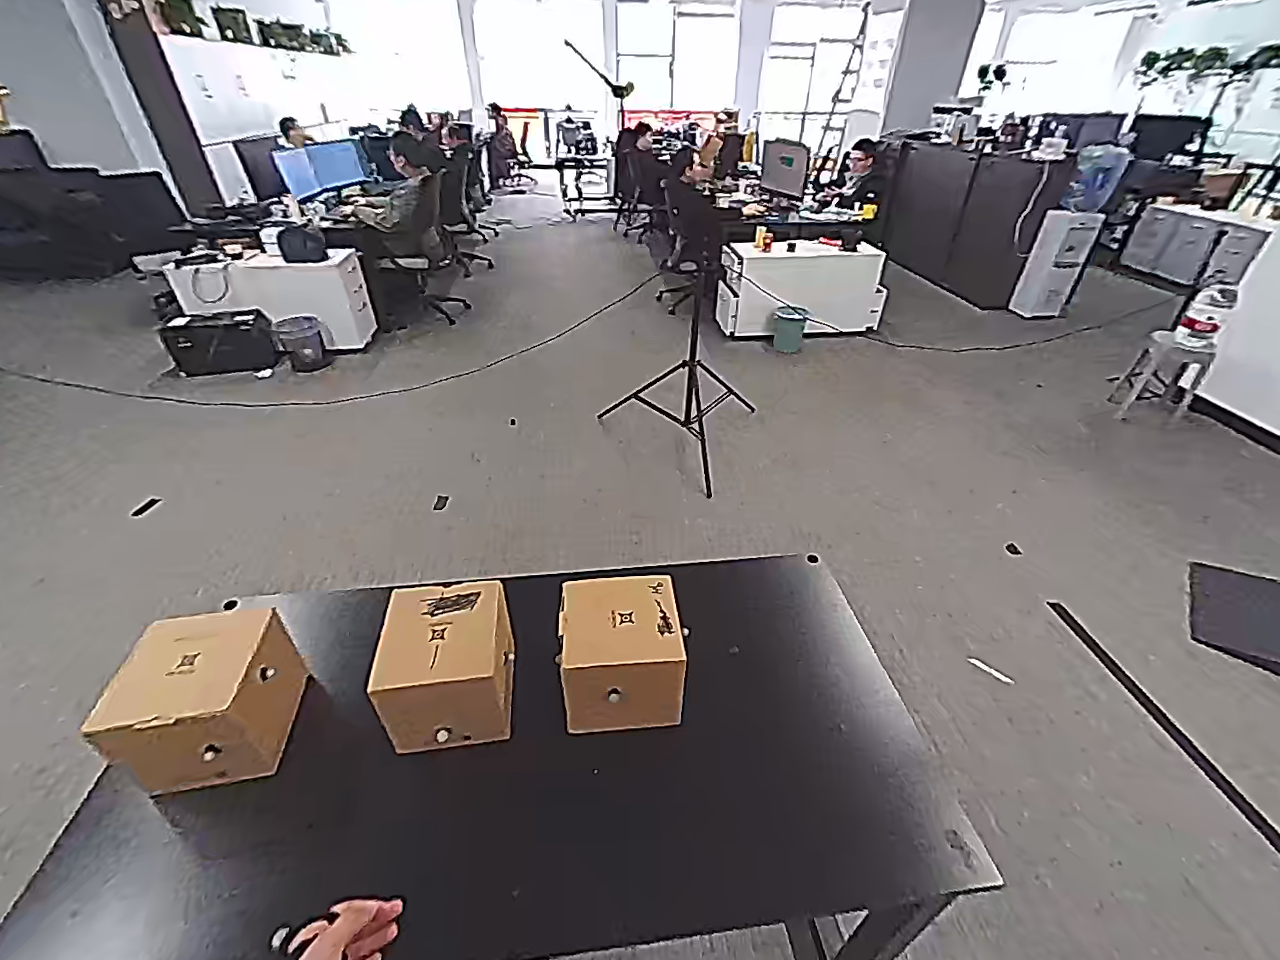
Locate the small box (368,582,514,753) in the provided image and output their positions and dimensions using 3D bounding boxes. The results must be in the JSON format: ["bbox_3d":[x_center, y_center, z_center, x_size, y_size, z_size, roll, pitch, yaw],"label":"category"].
[{"bbox_3d":[-0.288,0.282,0.824,0.168,0.176,0.179,-5,37,-7],"label":"small box"}]

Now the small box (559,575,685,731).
[{"bbox_3d":[-0.029,0.271,0.846,0.179,0.176,0.168,-3,36,-4],"label":"small box"}]

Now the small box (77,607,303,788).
[{"bbox_3d":[-0.615,0.313,0.774,0.168,0.176,0.179,-5,36,-10],"label":"small box"}]
